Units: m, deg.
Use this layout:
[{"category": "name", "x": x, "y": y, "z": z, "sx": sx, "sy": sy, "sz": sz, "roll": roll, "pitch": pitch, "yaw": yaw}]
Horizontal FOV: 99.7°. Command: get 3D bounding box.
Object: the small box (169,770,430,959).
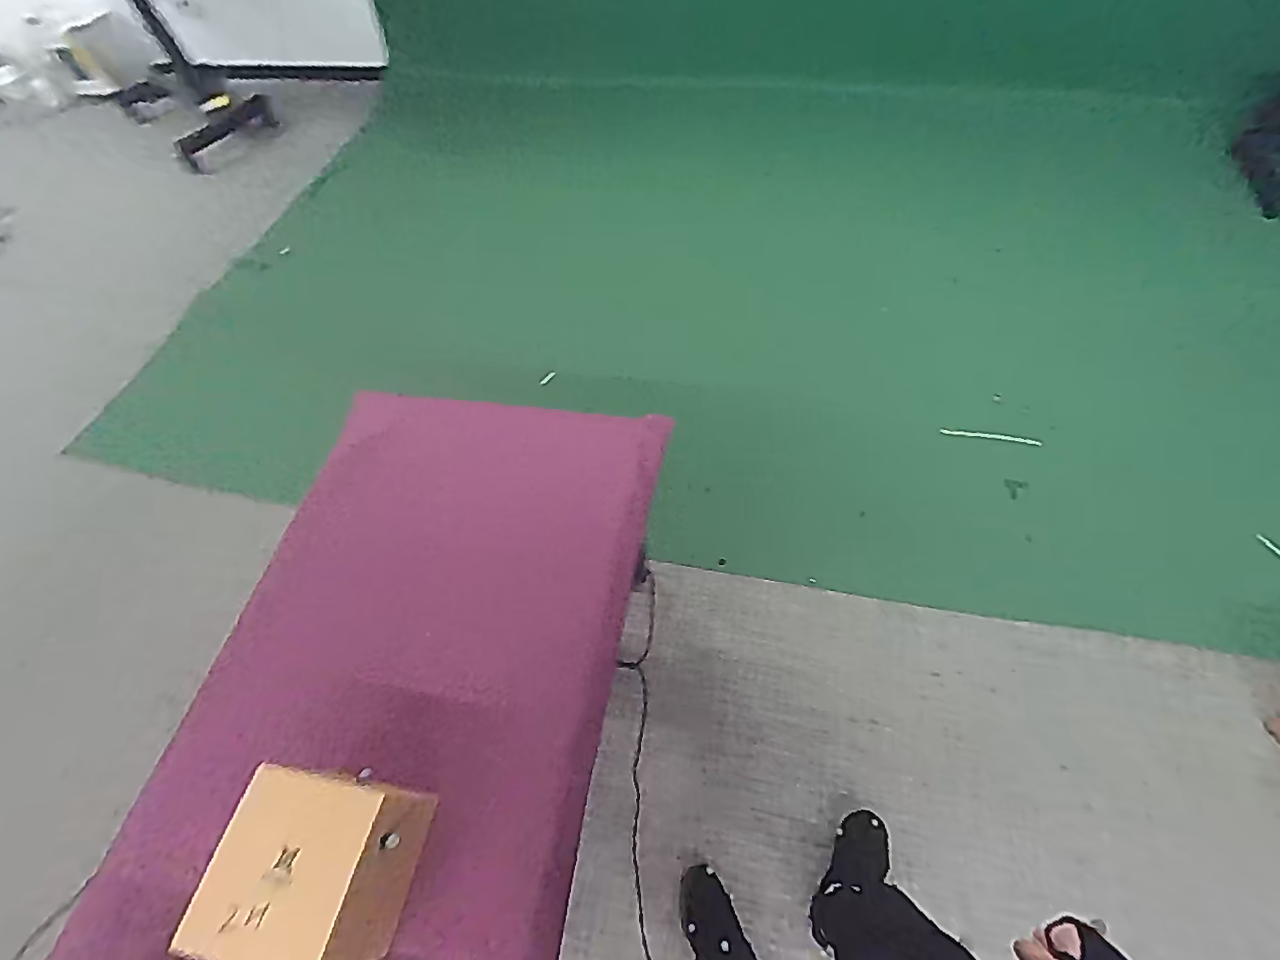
[{"category": "small box", "x": -0.377, "y": 0.467, "z": 0.645, "sx": 0.168, "sy": 0.176, "sz": 0.179, "roll": 8, "pitch": 59, "yaw": 9}]
